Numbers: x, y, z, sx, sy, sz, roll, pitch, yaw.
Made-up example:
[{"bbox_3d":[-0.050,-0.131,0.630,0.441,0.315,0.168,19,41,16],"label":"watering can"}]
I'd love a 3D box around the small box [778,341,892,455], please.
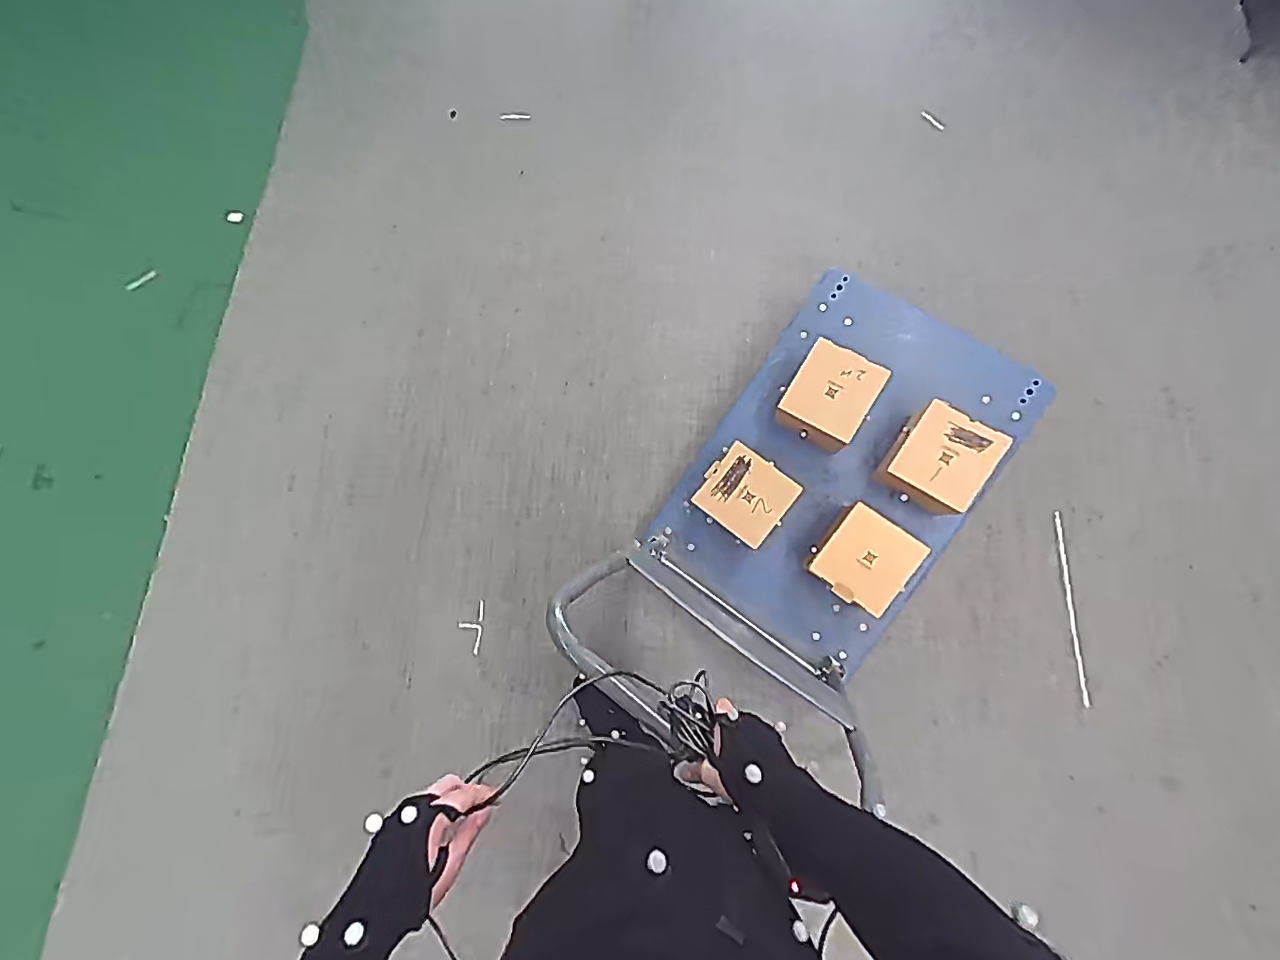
[{"bbox_3d":[0.420,-0.170,1.194,0.168,0.176,0.179,32,92,12],"label":"small box"}]

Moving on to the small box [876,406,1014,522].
[{"bbox_3d":[0.625,-0.027,1.137,0.168,0.176,0.179,34,93,14],"label":"small box"}]

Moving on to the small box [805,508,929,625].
[{"bbox_3d":[0.470,0.177,1.154,0.168,0.176,0.179,37,94,13],"label":"small box"}]
